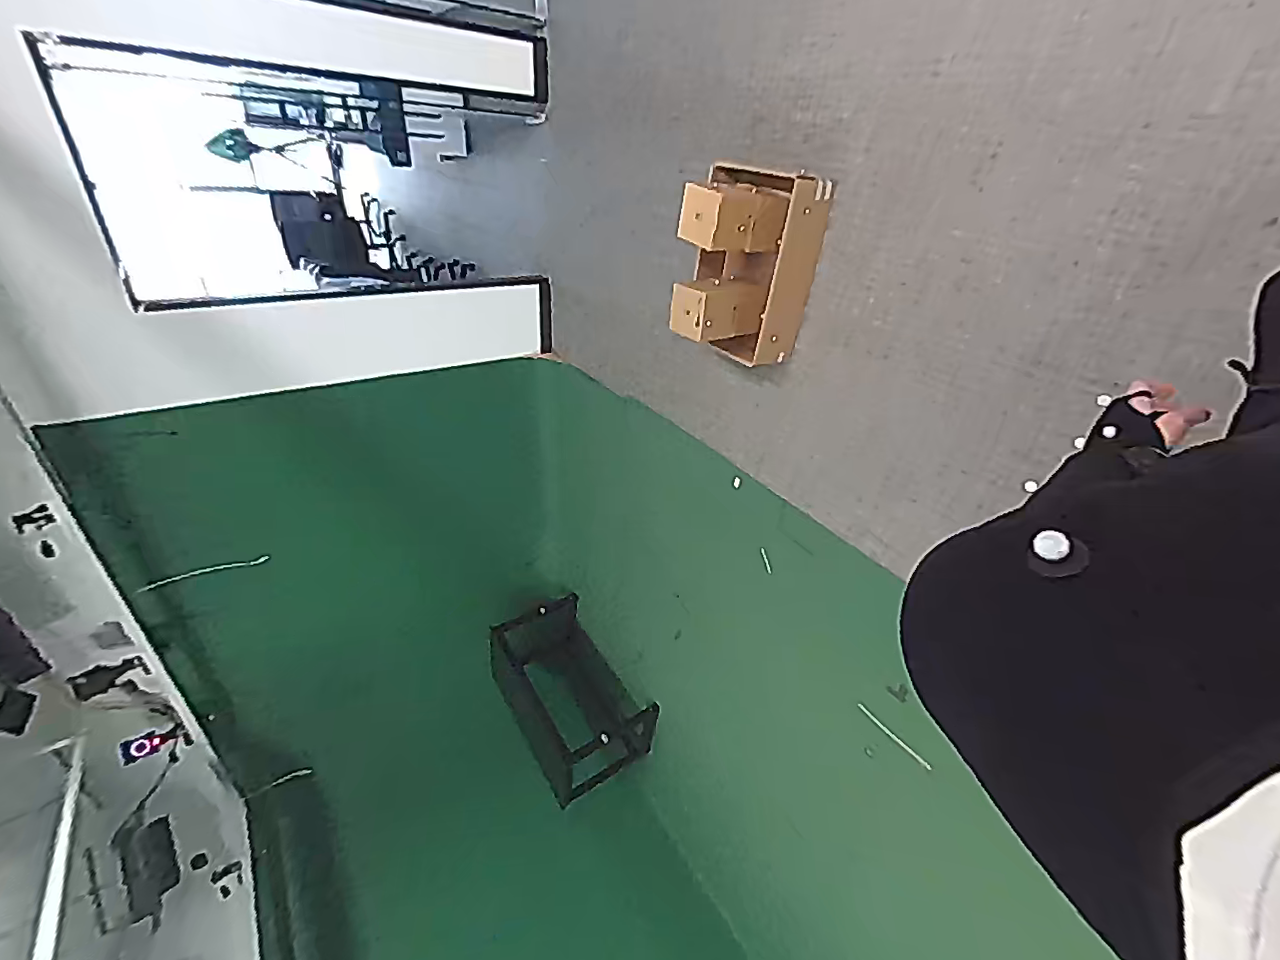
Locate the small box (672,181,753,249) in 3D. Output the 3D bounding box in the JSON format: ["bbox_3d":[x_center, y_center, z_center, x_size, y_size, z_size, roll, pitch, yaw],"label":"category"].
[{"bbox_3d":[0.235,-0.863,1.764,0.179,0.176,0.168,43,137,37],"label":"small box"}]

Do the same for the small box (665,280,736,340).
[{"bbox_3d":[0.213,-0.608,1.920,0.179,0.176,0.168,39,135,42],"label":"small box"}]
